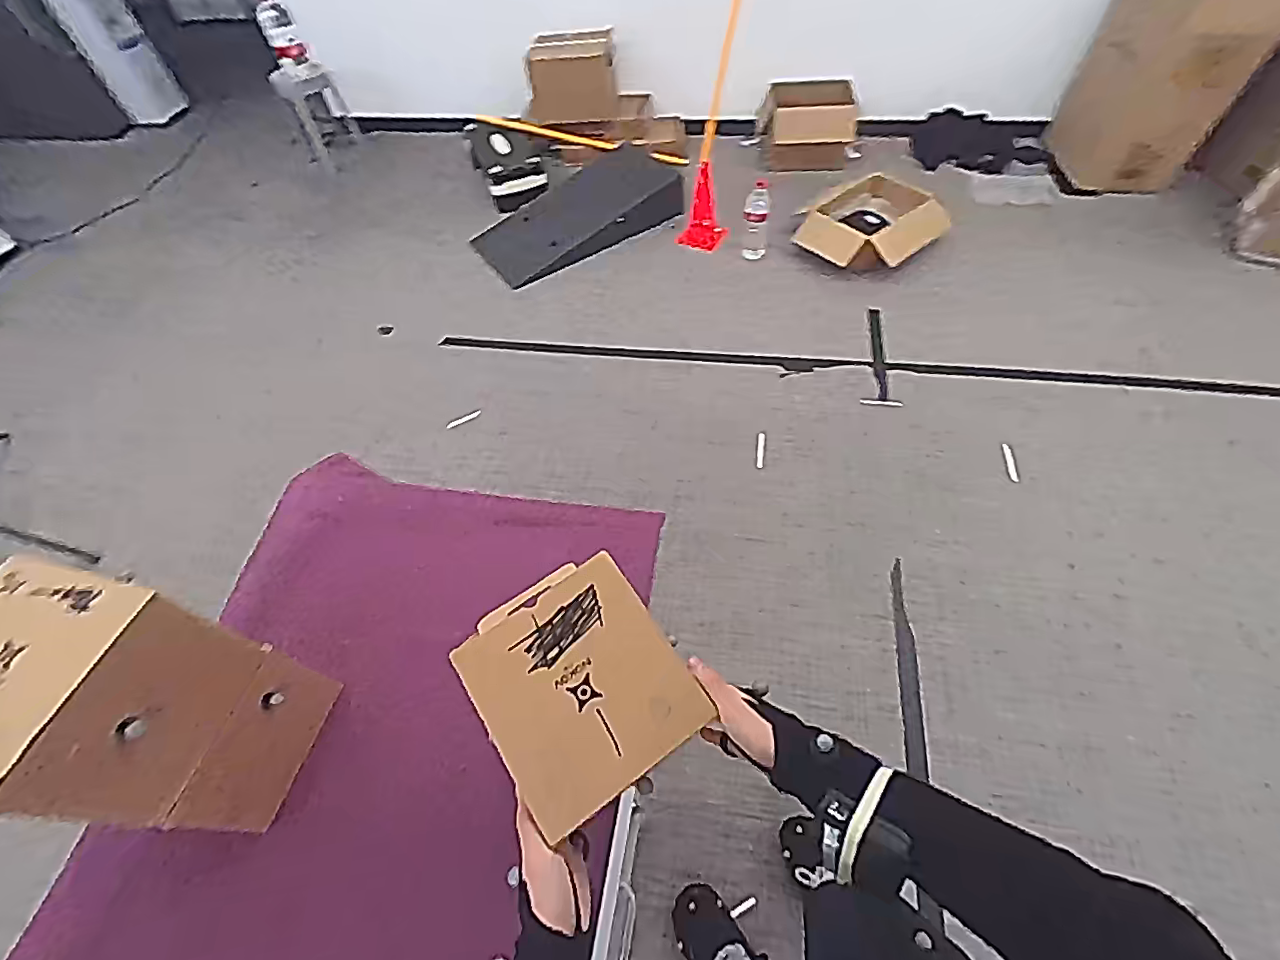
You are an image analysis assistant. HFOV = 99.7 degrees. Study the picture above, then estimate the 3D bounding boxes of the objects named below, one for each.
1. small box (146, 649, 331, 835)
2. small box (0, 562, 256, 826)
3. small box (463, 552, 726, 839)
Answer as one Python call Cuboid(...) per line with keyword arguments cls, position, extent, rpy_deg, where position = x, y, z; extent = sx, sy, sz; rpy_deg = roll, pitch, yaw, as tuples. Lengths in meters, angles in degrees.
Cuboid(cls="small box", position=(-0.507, 0.298, 0.640), extent=(0.168, 0.176, 0.179), rpy_deg=(9, 56, 10))
Cuboid(cls="small box", position=(-0.518, 0.204, 0.505), extent=(0.168, 0.176, 0.179), rpy_deg=(10, 57, 10))
Cuboid(cls="small box", position=(-0.039, 0.205, 0.528), extent=(0.168, 0.176, 0.179), rpy_deg=(-33, 67, -12))
